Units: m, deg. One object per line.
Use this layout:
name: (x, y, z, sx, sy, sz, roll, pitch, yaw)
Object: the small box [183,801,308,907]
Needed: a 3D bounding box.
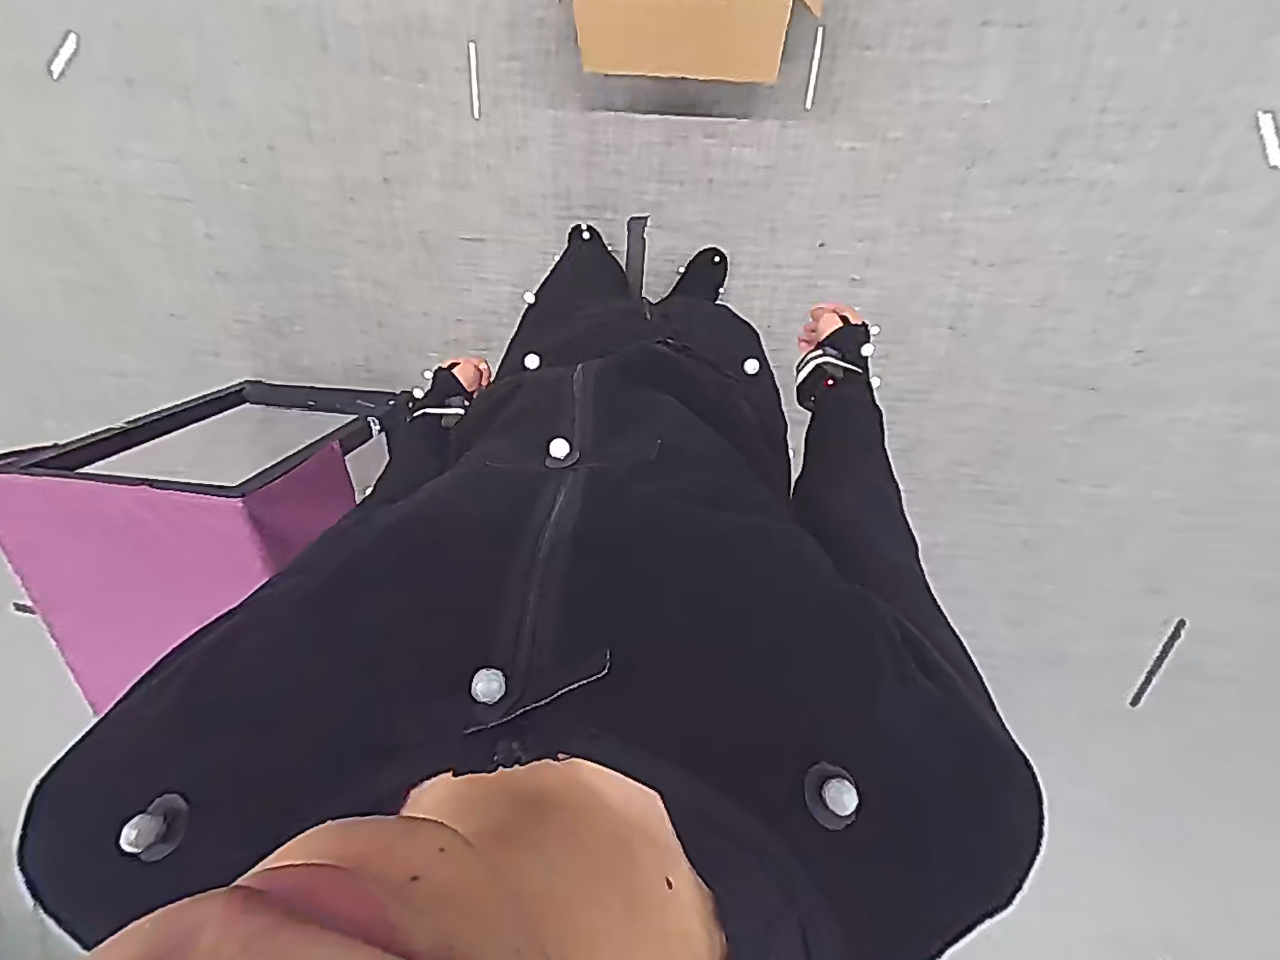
small box: (-1.019, 0.968, 1.413, 0.179, 0.176, 0.168, 2, 116, 6)
